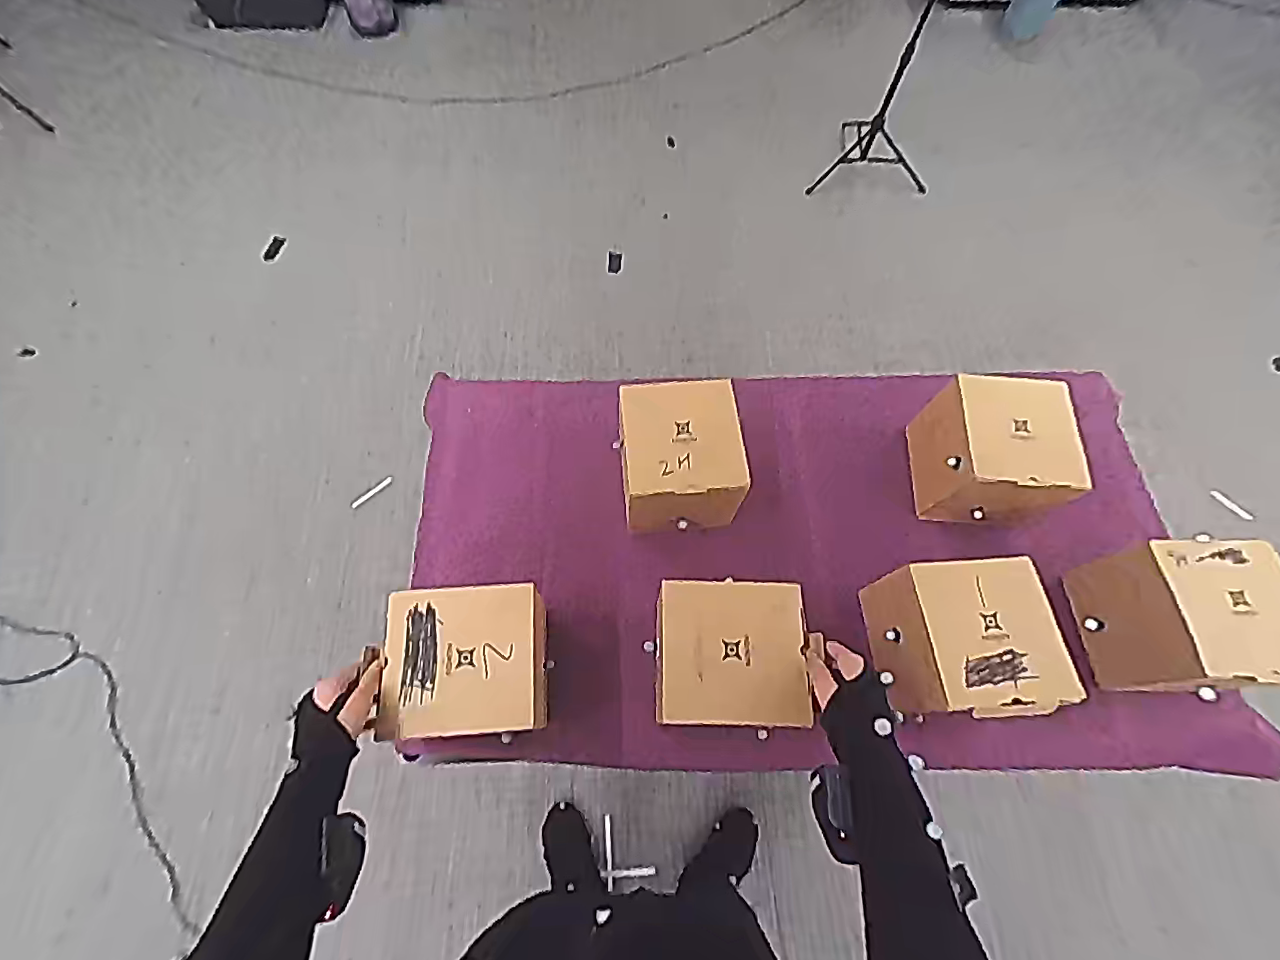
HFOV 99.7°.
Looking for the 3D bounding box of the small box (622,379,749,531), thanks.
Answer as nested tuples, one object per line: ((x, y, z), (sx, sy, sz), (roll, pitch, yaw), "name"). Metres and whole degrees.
((0.058, -0.034, 0.834), (0.168, 0.176, 0.179), (-4, 66, -3), "small box")

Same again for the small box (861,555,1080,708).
((0.424, 0.211, 0.730), (0.168, 0.176, 0.179), (-3, 65, -3), "small box")

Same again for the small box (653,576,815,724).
((0.111, 0.230, 0.714), (0.179, 0.176, 0.168), (2, 65, -1), "small box")

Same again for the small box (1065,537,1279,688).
((0.746, 0.189, 0.746), (0.168, 0.176, 0.179), (1, 64, 0), "small box")

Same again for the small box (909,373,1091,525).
((0.546, -0.044, 0.852), (0.168, 0.176, 0.179), (4, 67, 1), "small box")
